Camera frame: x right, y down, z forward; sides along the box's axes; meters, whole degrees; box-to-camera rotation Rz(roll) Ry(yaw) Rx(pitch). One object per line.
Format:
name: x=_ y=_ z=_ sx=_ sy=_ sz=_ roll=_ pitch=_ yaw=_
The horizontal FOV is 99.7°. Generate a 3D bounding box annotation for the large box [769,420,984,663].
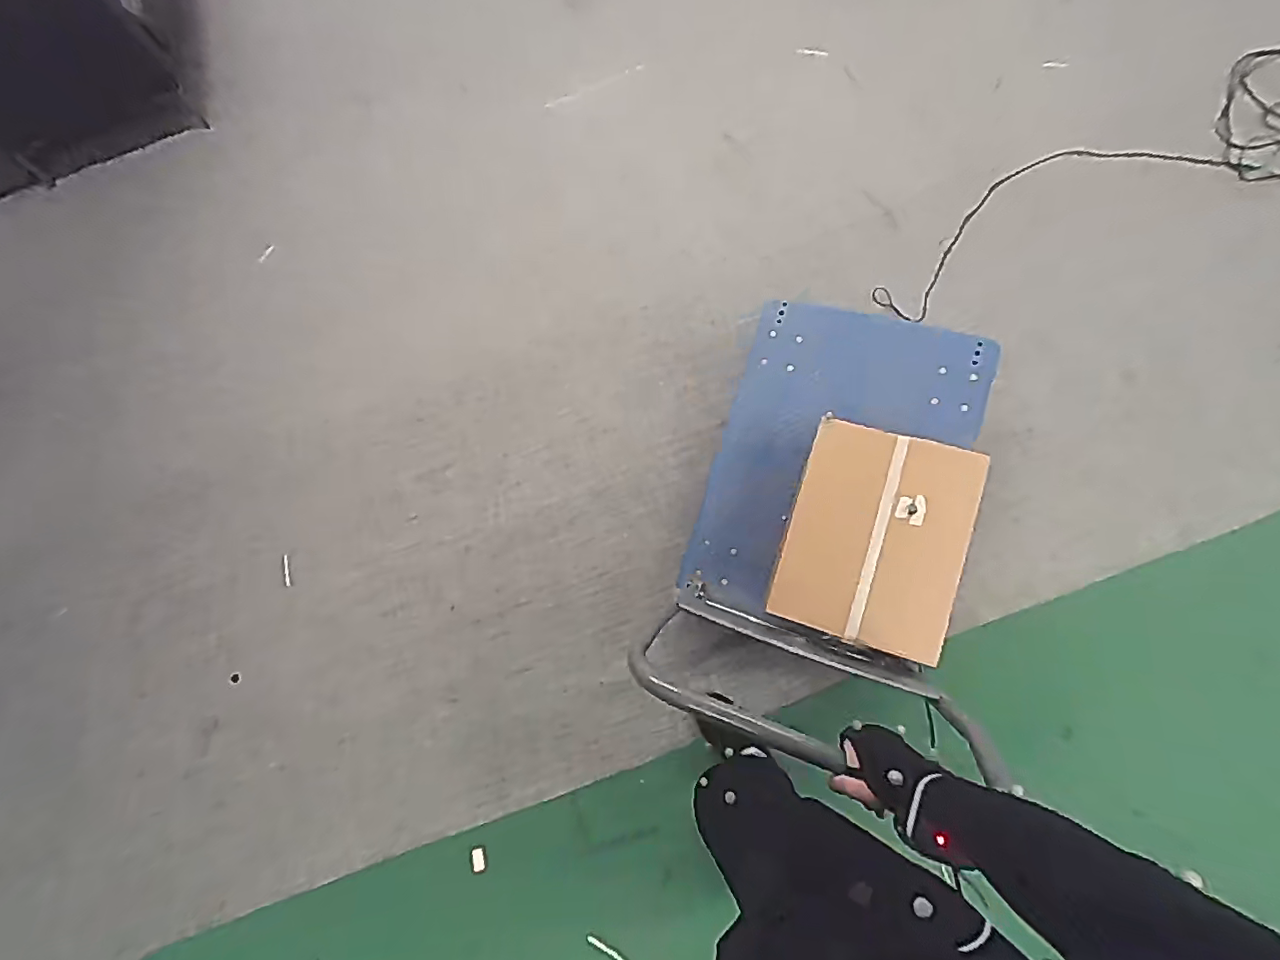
large box: x=0.481 y=0.134 z=1.175 sx=0.320 sy=0.320 sz=0.408 roll=17 pitch=84 yaw=14
